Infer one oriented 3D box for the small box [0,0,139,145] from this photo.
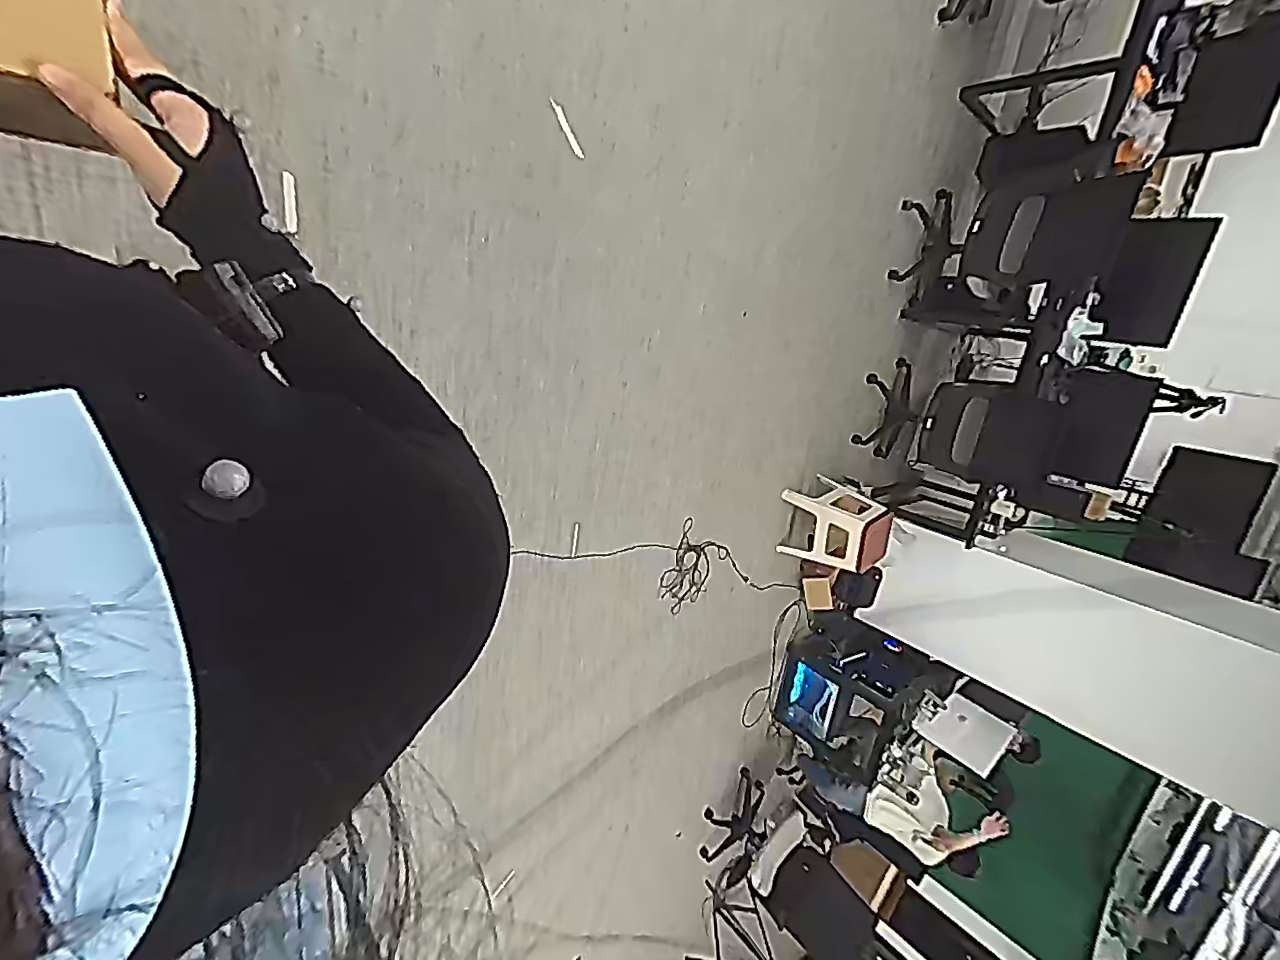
[{"bbox_3d":[-0.445,-0.349,0.346,0.168,0.176,0.179,-8,109,-41],"label":"small box"}]
